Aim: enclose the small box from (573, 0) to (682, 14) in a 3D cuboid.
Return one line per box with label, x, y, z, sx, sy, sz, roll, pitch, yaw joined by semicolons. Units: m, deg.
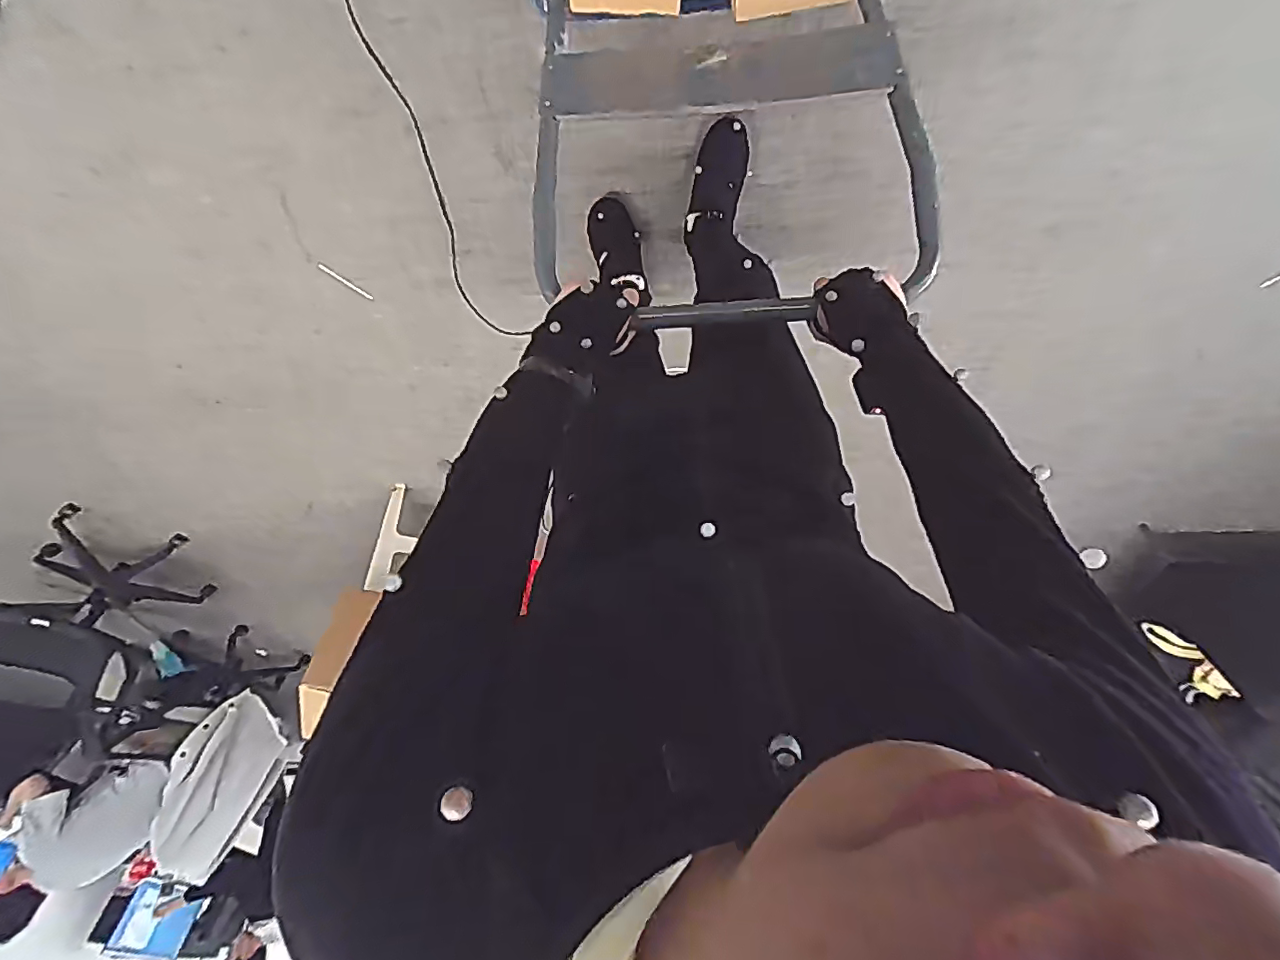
small box;-0.019;-0.814;0.770;0.168;0.176;0.179;0;156;-2
